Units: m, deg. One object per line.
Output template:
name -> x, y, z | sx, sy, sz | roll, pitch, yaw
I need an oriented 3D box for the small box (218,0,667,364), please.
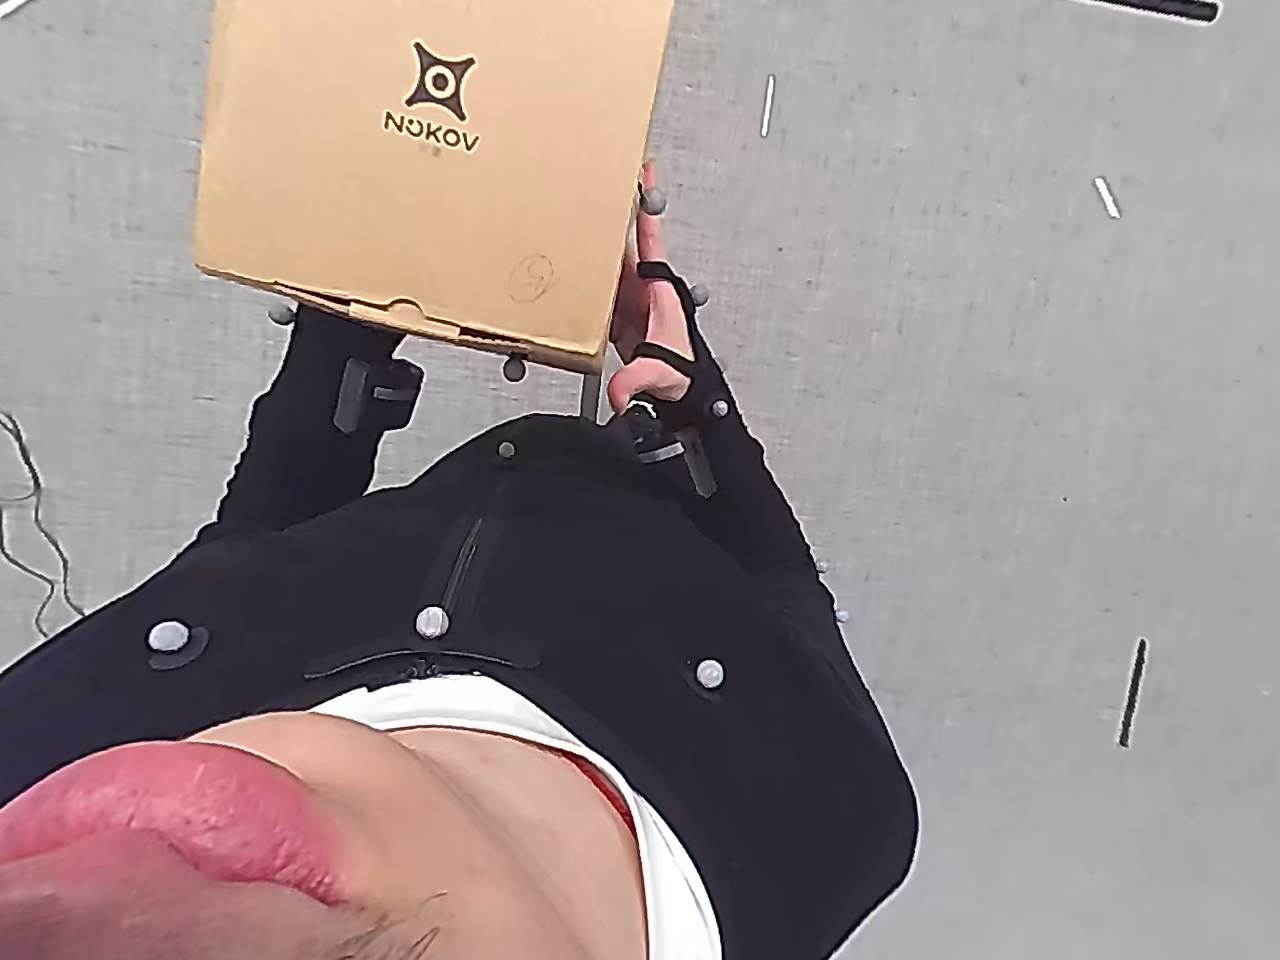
small box -> -0.087, -0.169, 0.303 | 0.168, 0.176, 0.179 | 10, 96, -7
